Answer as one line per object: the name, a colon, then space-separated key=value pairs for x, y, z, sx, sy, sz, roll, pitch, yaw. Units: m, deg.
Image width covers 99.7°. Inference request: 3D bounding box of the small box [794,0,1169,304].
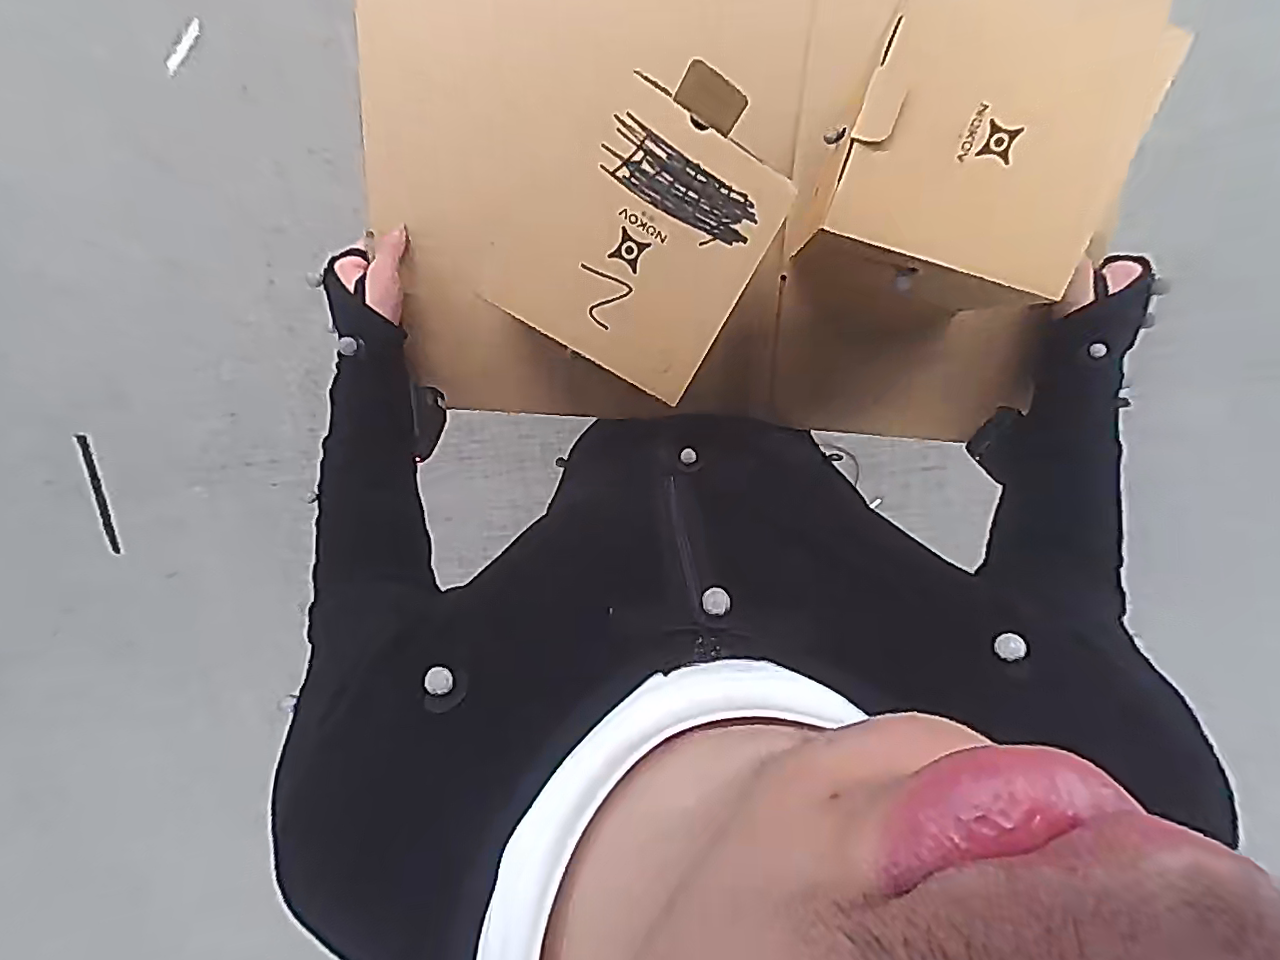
small box: x=0.246 y=-0.252 z=0.449 sx=0.179 sy=0.176 sz=0.168 roll=19 pitch=107 yaw=4
